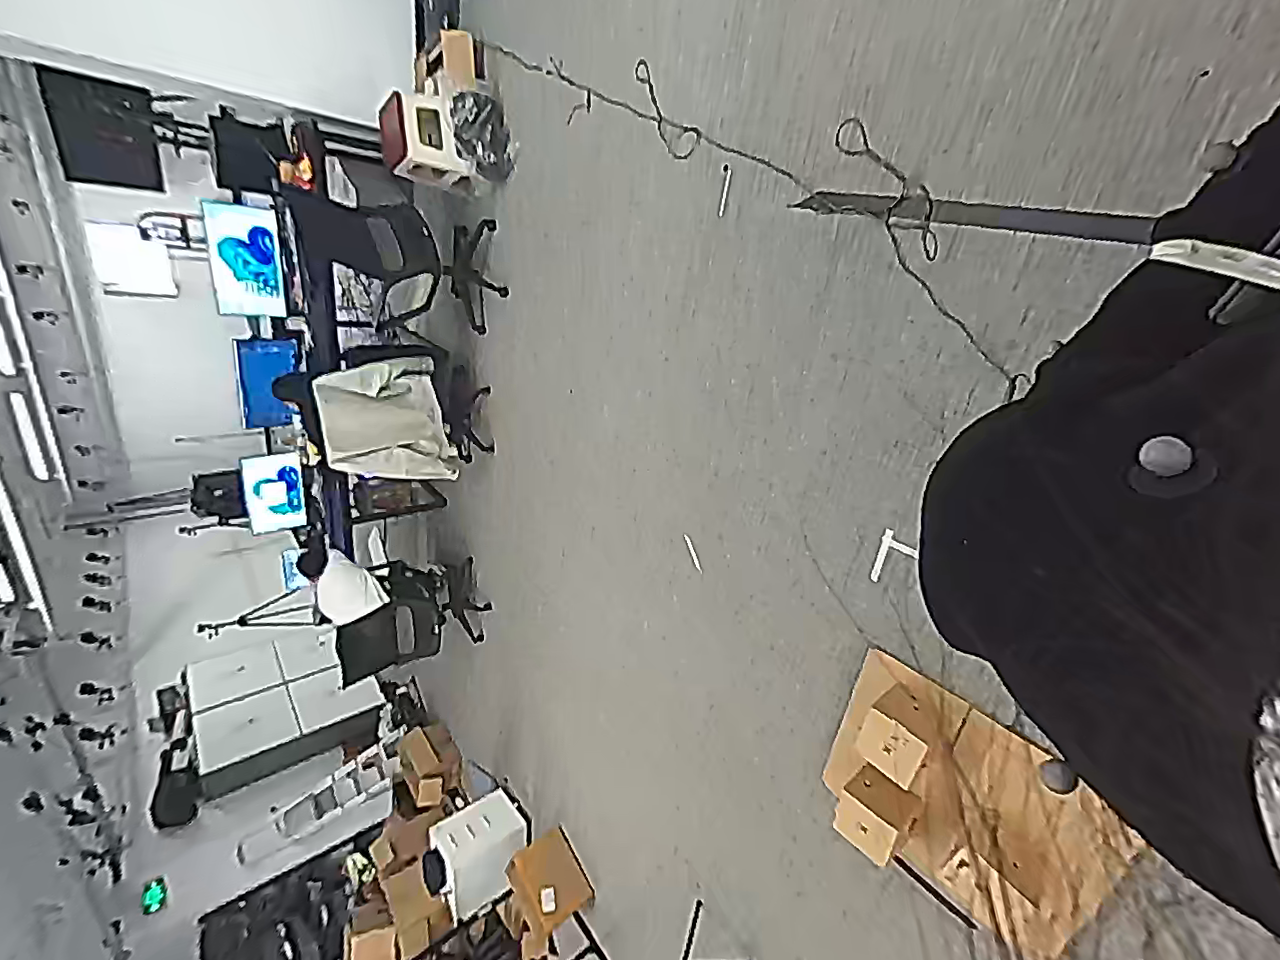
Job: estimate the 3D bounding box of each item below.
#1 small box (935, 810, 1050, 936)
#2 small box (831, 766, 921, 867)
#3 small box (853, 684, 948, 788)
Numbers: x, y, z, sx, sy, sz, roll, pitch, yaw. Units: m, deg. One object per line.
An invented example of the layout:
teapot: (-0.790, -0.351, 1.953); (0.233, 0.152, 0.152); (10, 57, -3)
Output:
small box: (0.922, 1.016, 1.410); (0.179, 0.176, 0.168); (39, 126, 35)
small box: (0.720, 1.013, 1.653); (0.179, 0.176, 0.168); (26, 119, 44)
small box: (0.747, 0.724, 1.546); (0.168, 0.176, 0.179); (31, 120, 41)
